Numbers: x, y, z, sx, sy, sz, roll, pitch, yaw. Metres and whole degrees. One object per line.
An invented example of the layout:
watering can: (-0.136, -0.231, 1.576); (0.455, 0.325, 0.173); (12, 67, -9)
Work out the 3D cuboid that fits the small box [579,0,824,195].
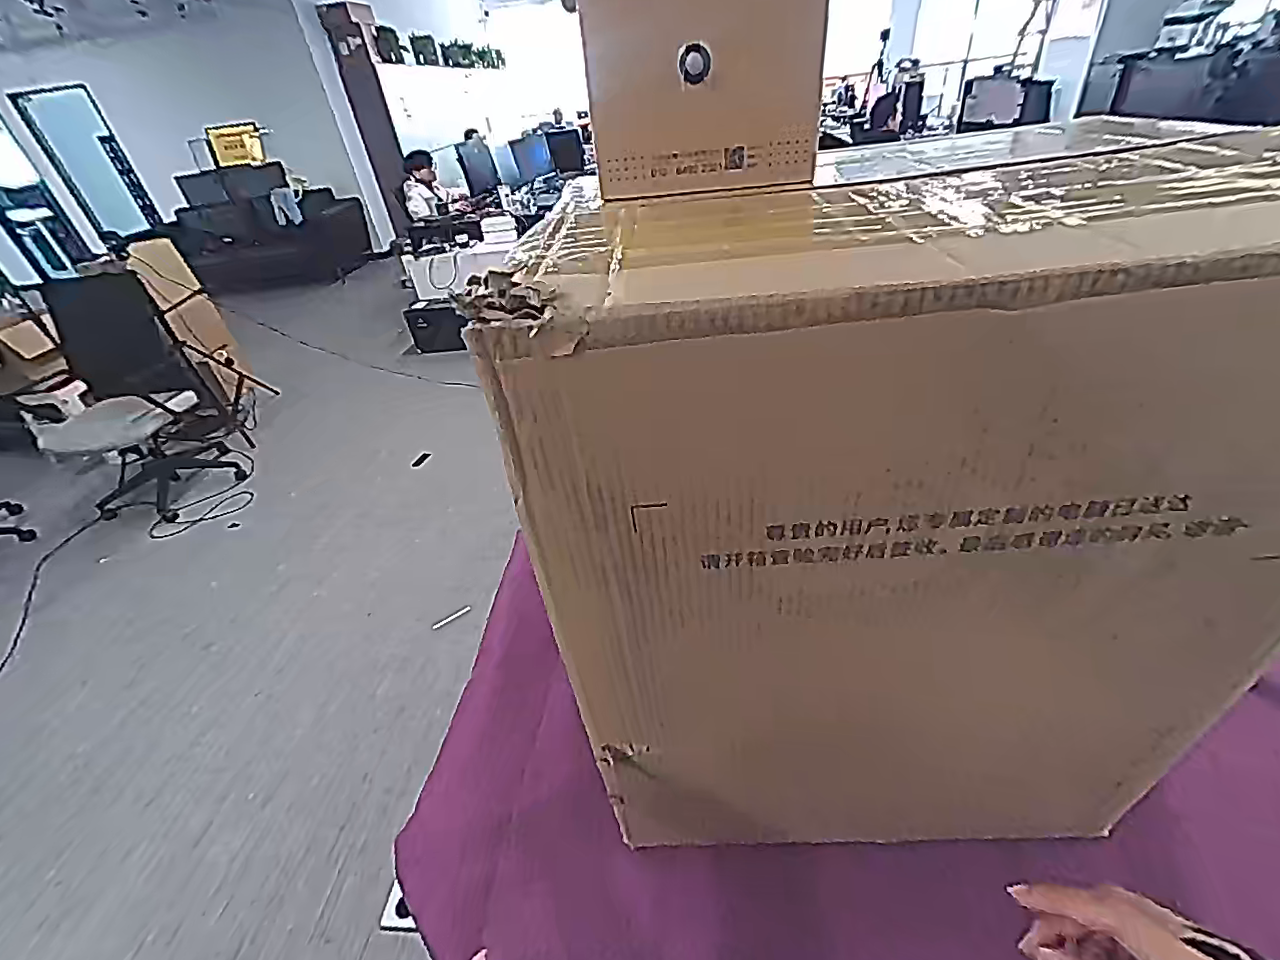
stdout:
small box: (0.050, -0.337, 0.437); (0.168, 0.176, 0.179); (-1, 36, 7)
